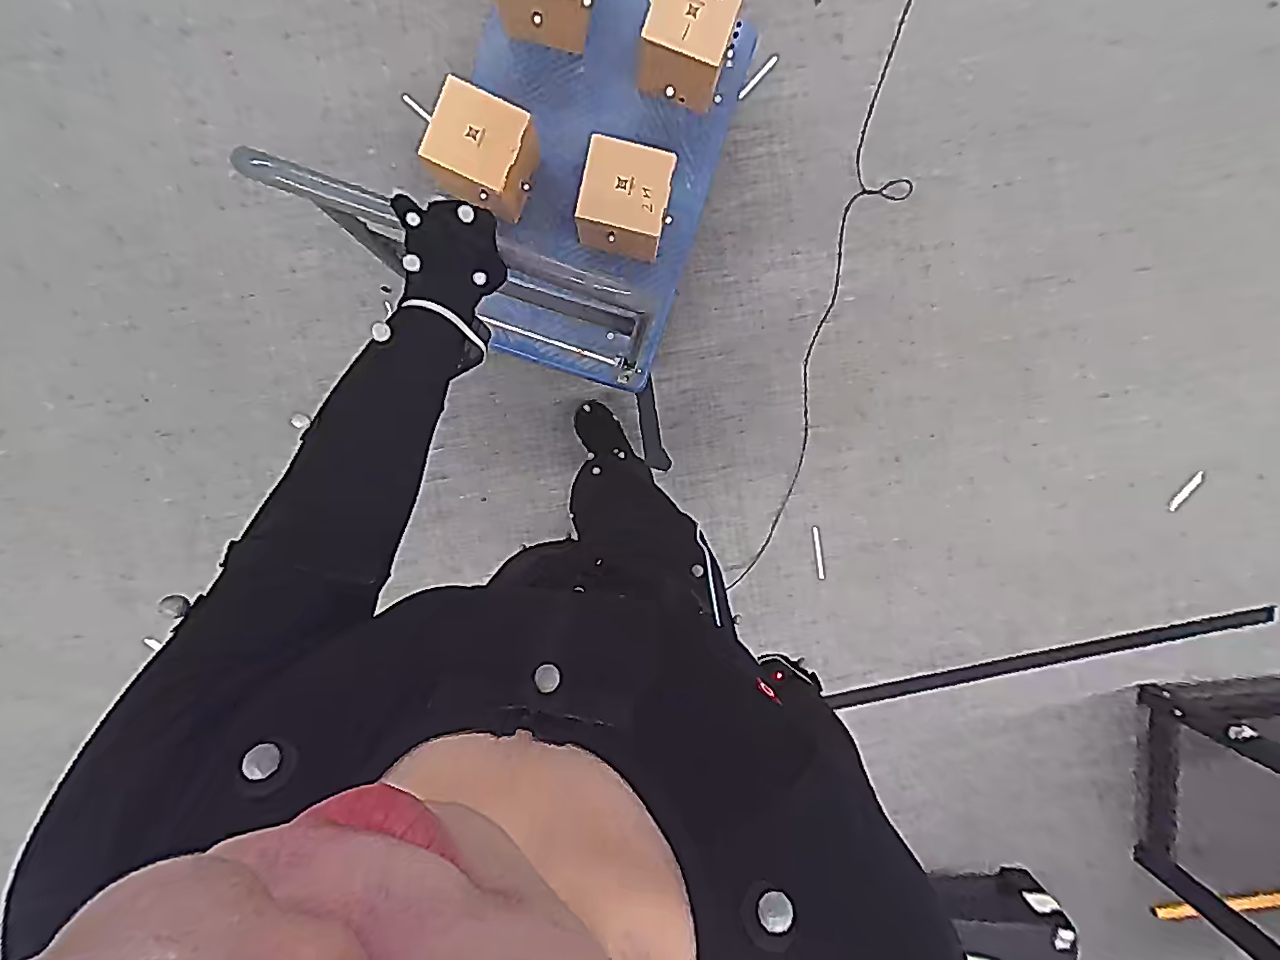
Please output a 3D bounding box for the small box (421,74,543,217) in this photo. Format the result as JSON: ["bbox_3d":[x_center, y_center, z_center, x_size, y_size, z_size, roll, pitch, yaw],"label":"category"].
[{"bbox_3d":[-0.320,-0.683,1.131,0.179,0.176,0.168,23,94,-5],"label":"small box"}]

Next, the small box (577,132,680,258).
[{"bbox_3d":[-0.026,-0.593,1.150,0.179,0.176,0.168,13,95,-3],"label":"small box"}]

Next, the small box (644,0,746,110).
[{"bbox_3d":[0.109,-0.925,1.122,0.168,0.176,0.179,19,96,-4],"label":"small box"}]
